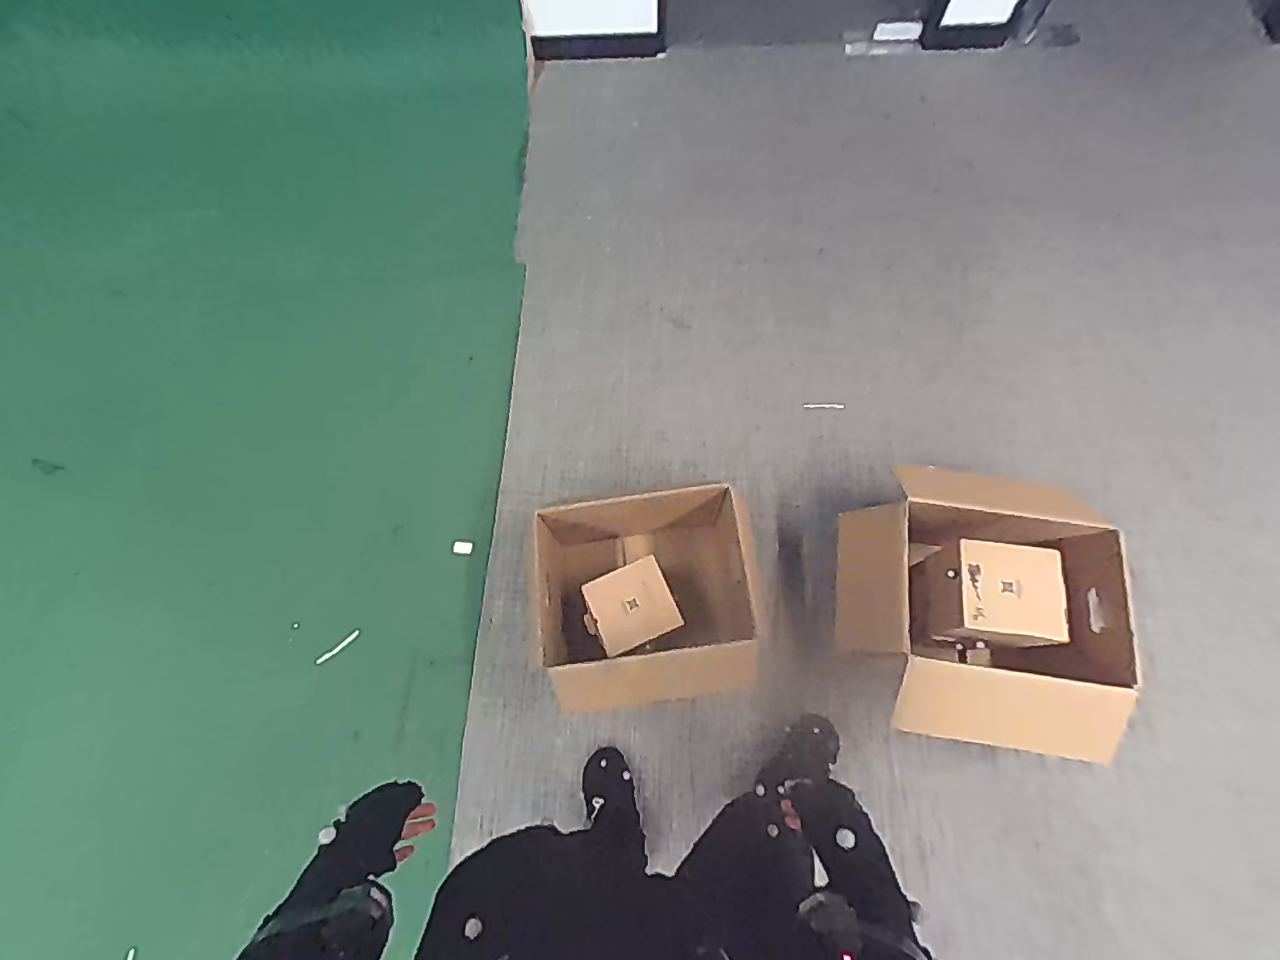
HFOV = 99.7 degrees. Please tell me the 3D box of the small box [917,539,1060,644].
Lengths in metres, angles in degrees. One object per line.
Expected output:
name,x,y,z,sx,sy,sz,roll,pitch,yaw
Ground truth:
small box,0.672,0.225,1.063,0.179,0.176,0.168,6,69,6
